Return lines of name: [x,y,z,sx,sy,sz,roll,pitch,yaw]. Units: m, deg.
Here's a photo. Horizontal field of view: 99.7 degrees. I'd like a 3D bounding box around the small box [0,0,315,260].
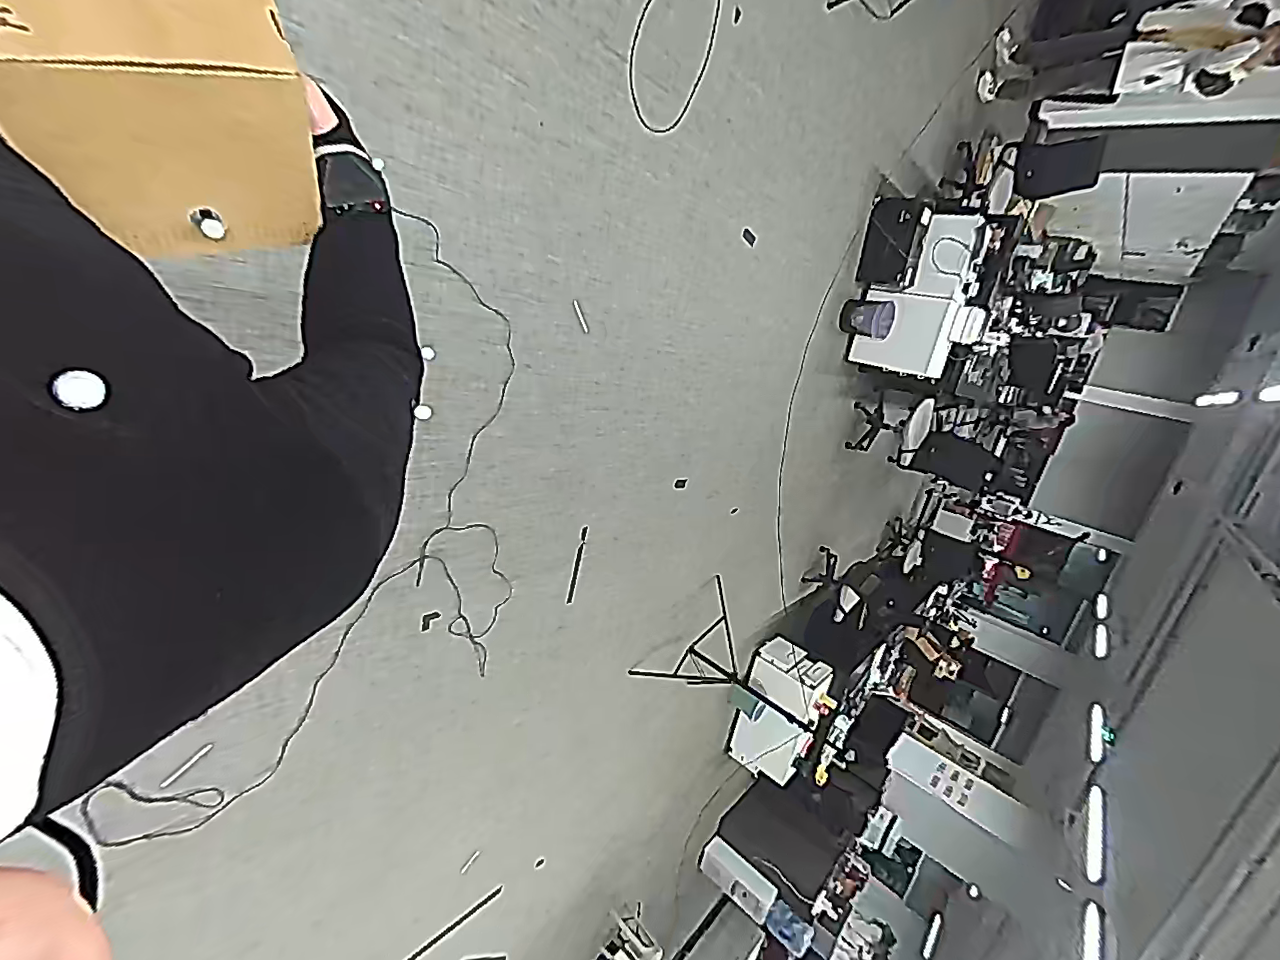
small box: [-0.383,-0.304,0.435,0.179,0.168,0.176,-23,170,-31]
